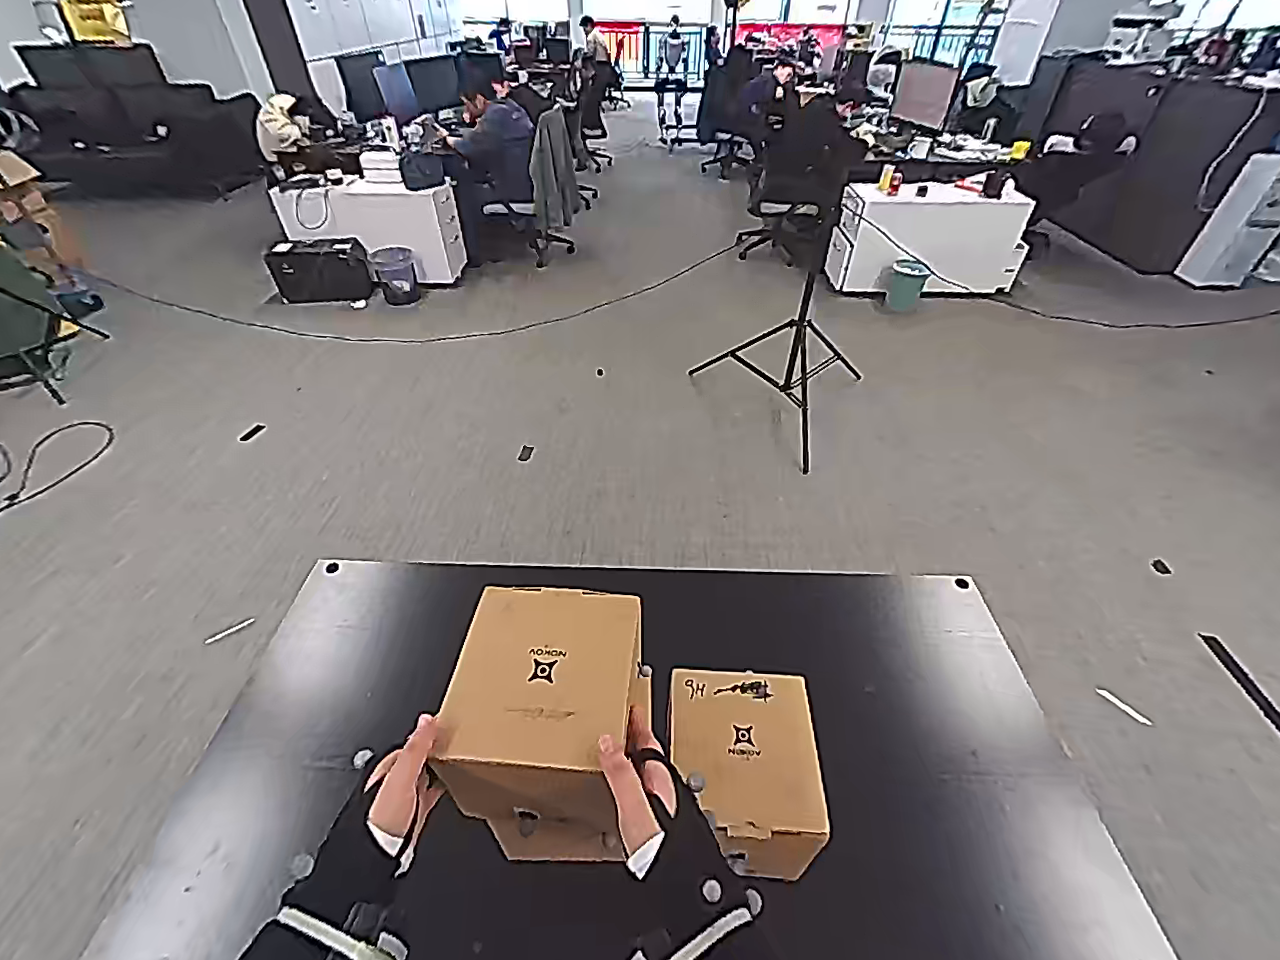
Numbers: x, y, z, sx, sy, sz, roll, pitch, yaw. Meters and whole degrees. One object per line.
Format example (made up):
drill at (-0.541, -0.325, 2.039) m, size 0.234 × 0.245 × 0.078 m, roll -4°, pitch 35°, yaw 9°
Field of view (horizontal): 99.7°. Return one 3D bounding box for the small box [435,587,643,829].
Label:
small box at (-0.084, 0.234, 0.560) m, size 0.168 × 0.176 × 0.179 m, roll 1°, pitch 44°, yaw 4°
